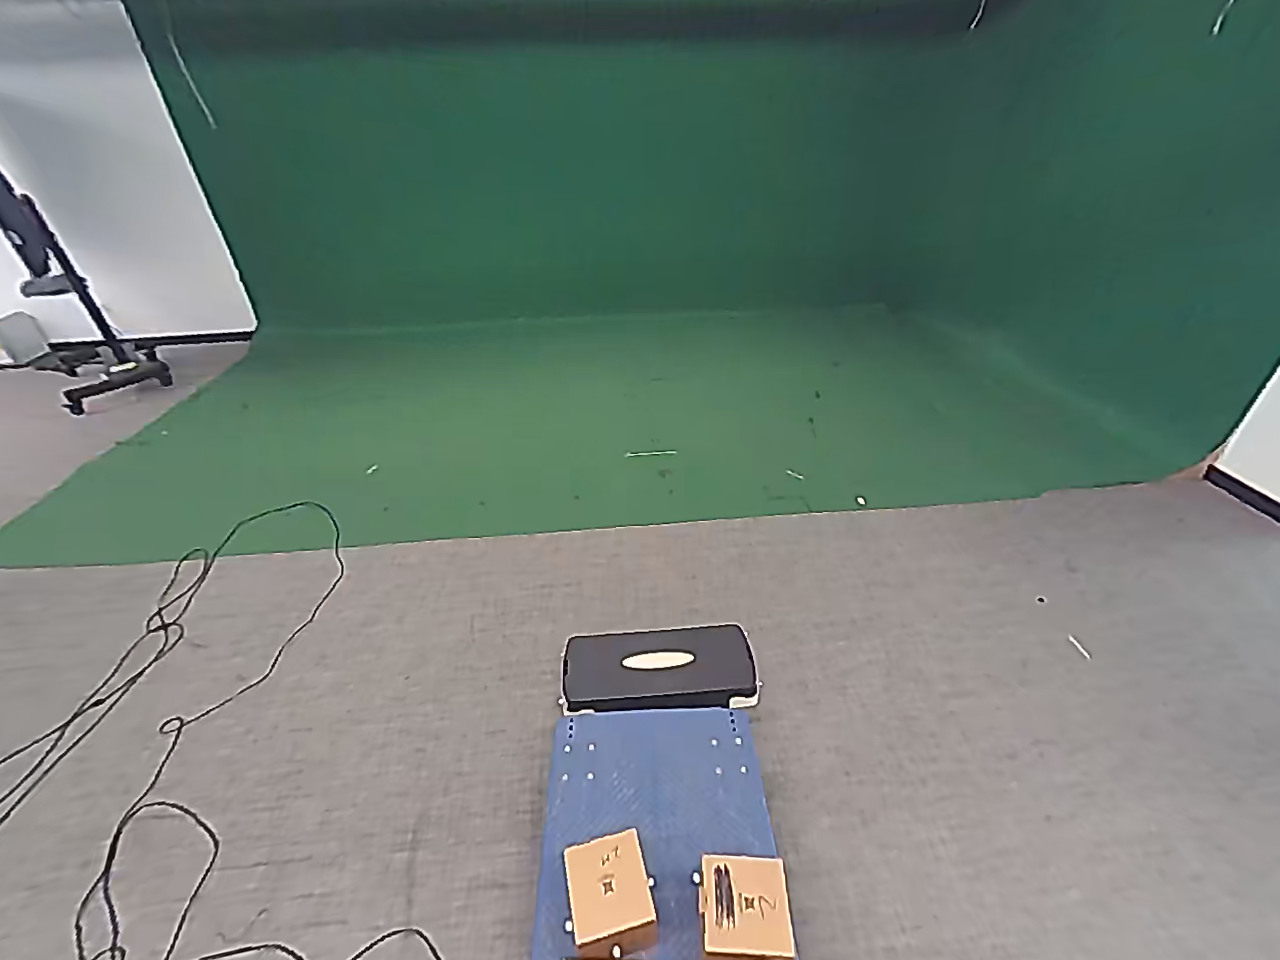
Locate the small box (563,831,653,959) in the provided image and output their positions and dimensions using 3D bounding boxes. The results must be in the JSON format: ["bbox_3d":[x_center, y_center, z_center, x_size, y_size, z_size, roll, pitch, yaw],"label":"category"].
[{"bbox_3d":[-0.070,0.910,1.174,0.168,0.176,0.179,-8,35,-12],"label":"small box"}]
